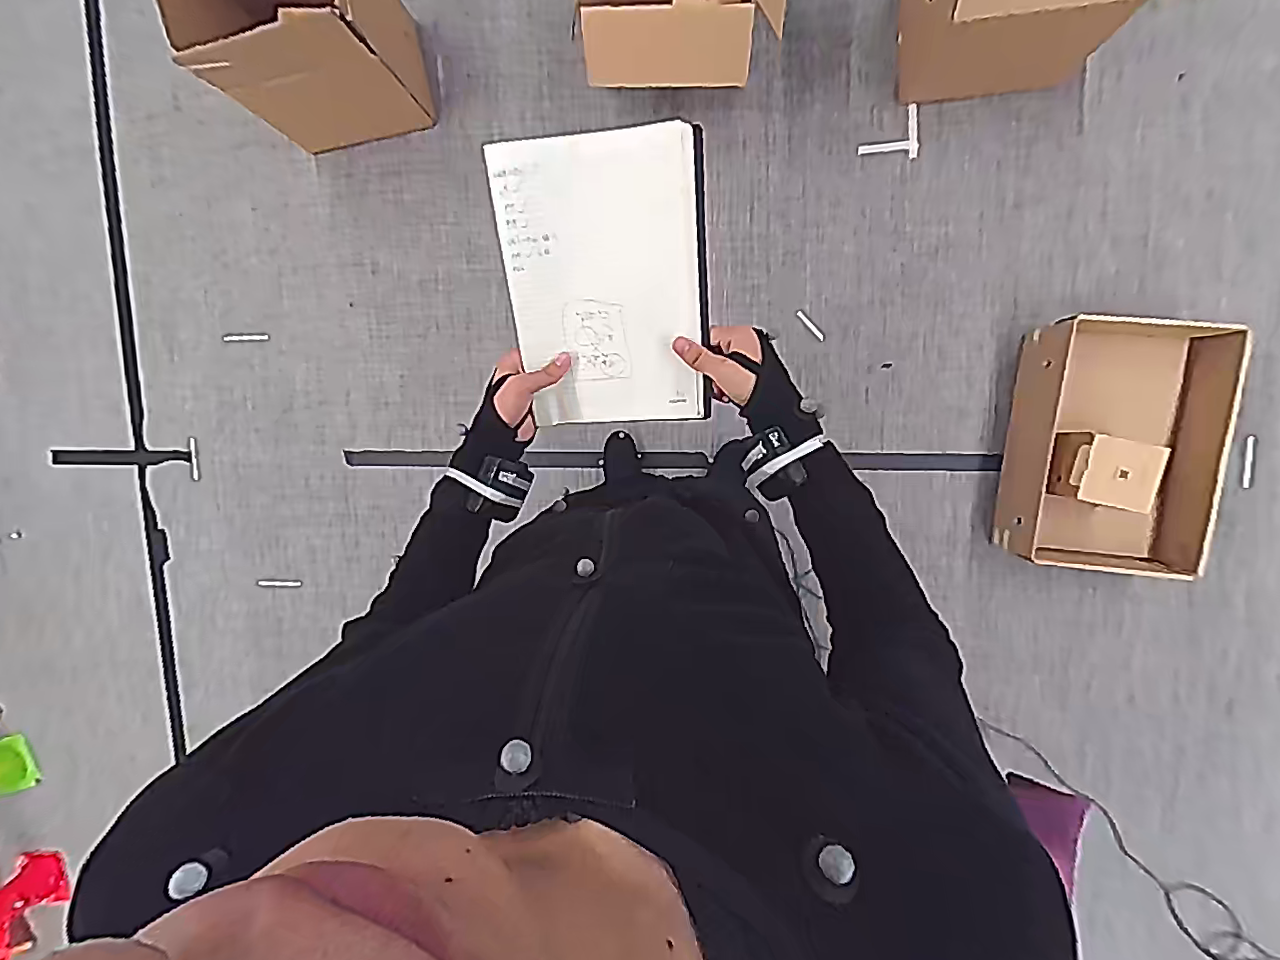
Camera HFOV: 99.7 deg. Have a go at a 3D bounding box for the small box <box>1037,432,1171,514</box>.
[{"bbox_3d":[1.160,-0.023,1.370,0.179,0.176,0.168,14,97,5],"label":"small box"}]
